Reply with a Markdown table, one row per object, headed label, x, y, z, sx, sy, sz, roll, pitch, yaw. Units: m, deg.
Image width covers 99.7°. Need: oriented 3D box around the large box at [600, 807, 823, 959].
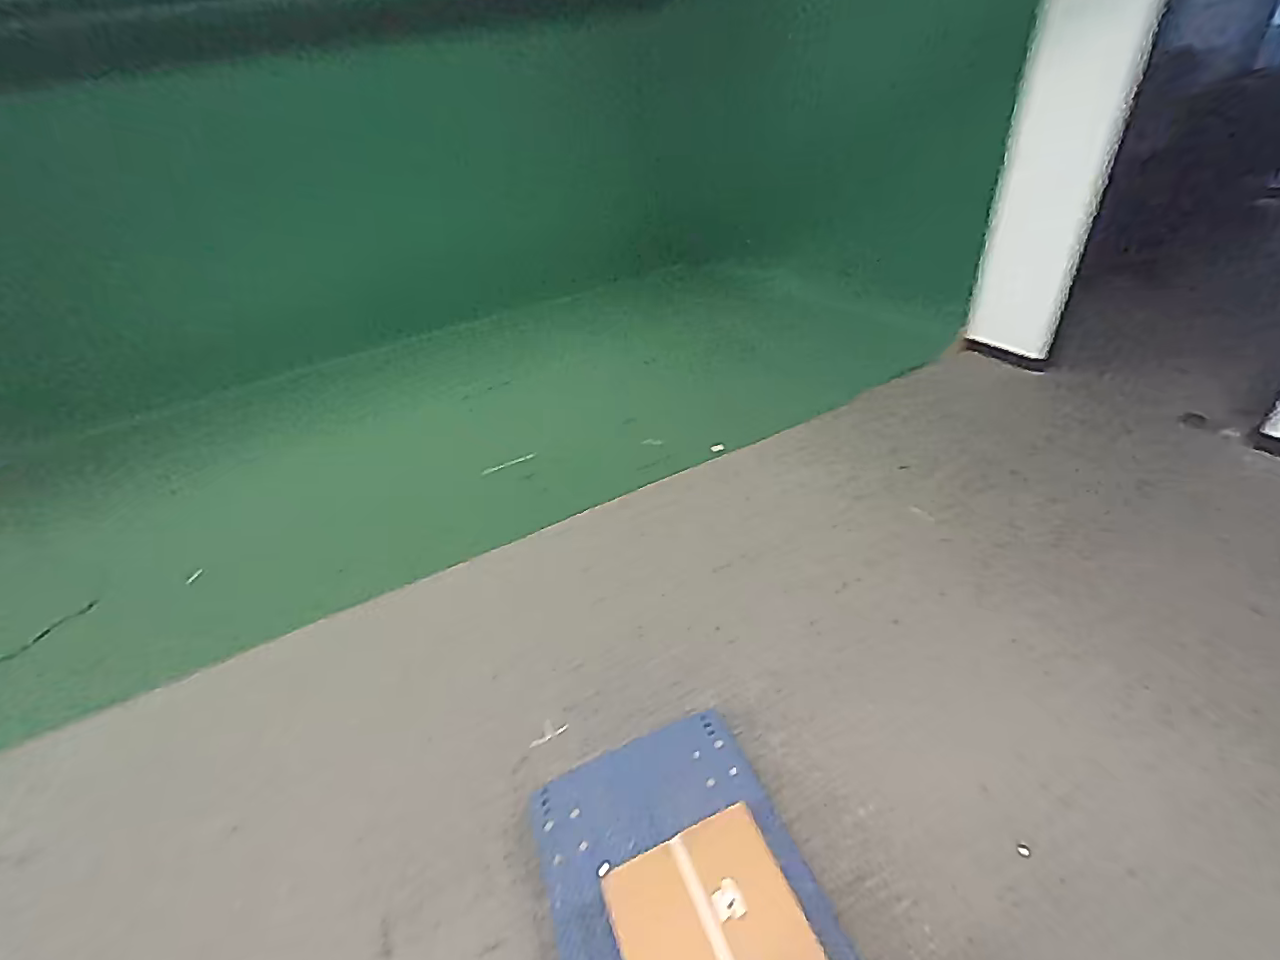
| label | x | y | z | sx | sy | sz | roll | pitch | yaw |
| --- | --- | --- | --- | --- | --- | --- | --- | --- | --- |
| large box | 0.160 | 0.935 | 1.004 | 0.320 | 0.320 | 0.408 | -19 | 37 | -14 |
